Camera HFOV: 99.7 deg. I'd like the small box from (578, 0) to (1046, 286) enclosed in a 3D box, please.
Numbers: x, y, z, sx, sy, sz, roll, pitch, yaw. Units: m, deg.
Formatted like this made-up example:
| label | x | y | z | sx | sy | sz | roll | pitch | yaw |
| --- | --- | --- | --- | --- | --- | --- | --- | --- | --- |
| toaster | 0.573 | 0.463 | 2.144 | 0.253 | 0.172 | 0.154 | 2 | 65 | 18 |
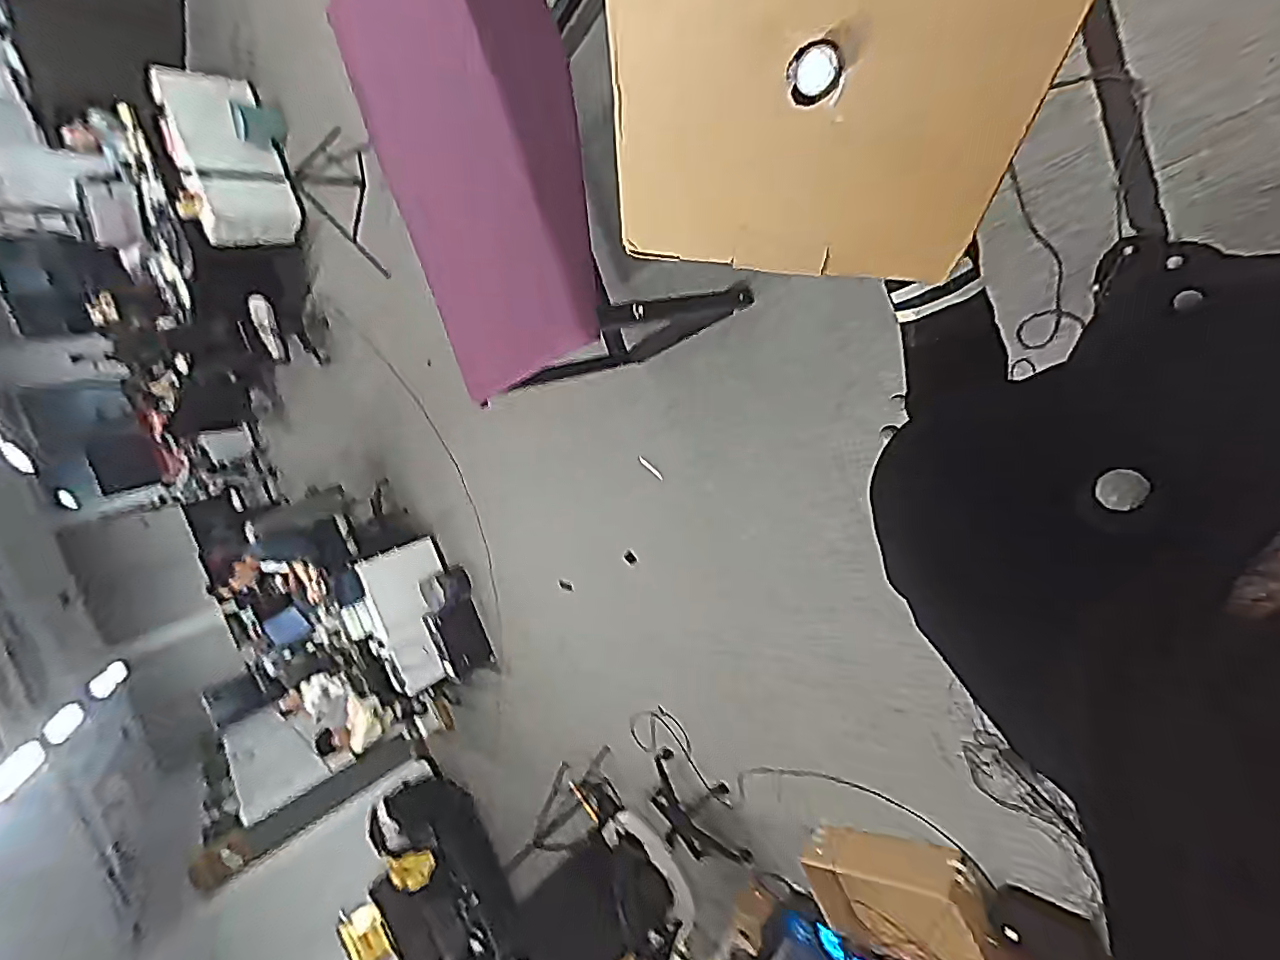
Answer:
| label | x | y | z | sx | sy | sz | roll | pitch | yaw |
| --- | --- | --- | --- | --- | --- | --- | --- | --- | --- |
| small box | 0.073 | -0.218 | 0.247 | 0.168 | 0.179 | 0.176 | 10 | 147 | 11 |
